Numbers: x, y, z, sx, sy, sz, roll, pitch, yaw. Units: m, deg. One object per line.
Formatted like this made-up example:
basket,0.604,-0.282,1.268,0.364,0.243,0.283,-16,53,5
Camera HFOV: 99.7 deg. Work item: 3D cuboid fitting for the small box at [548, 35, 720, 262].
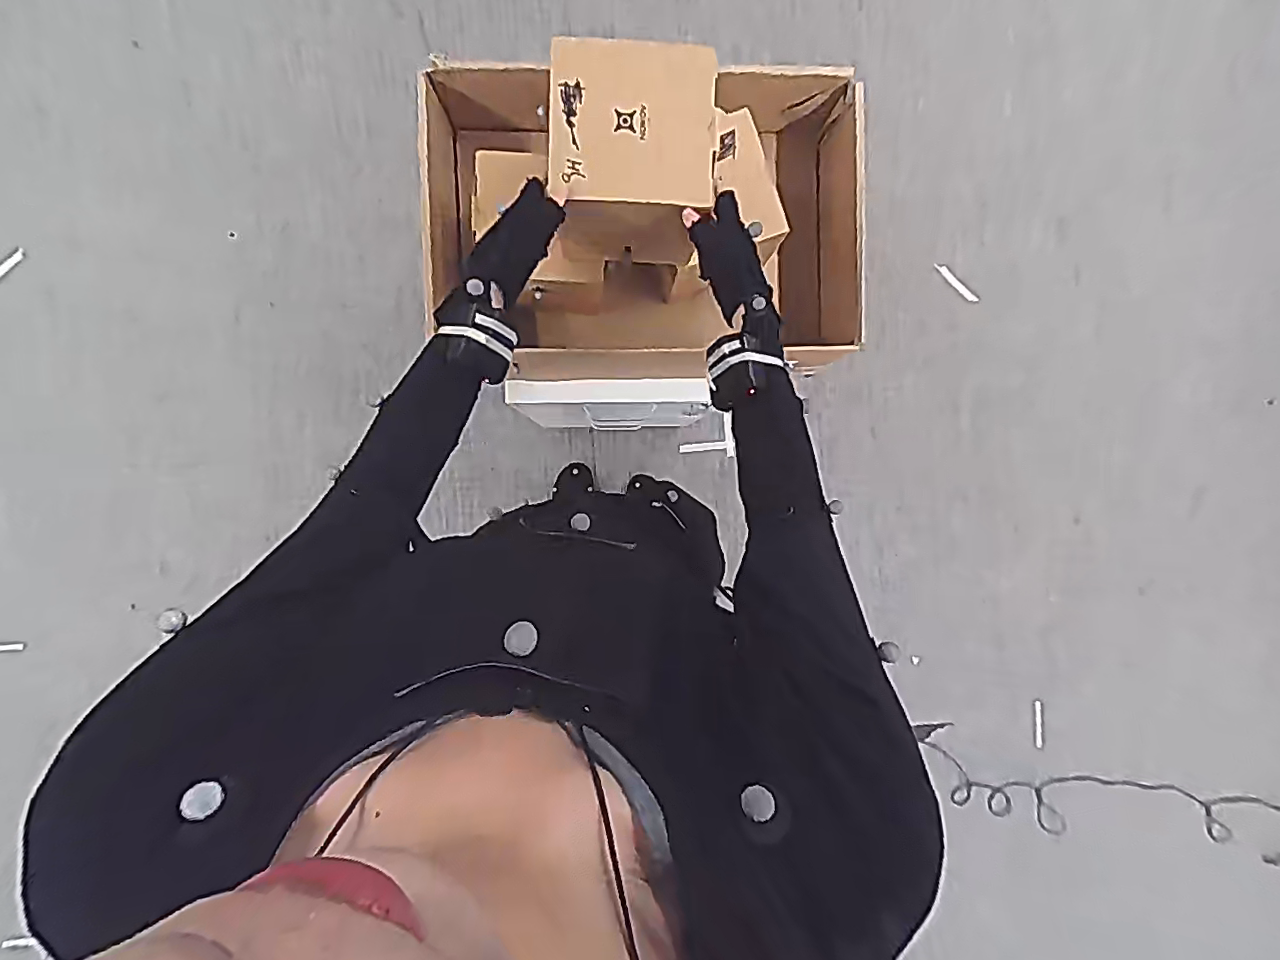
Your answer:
small box,-0.013,-0.371,0.641,0.179,0.176,0.168,2,92,-5
